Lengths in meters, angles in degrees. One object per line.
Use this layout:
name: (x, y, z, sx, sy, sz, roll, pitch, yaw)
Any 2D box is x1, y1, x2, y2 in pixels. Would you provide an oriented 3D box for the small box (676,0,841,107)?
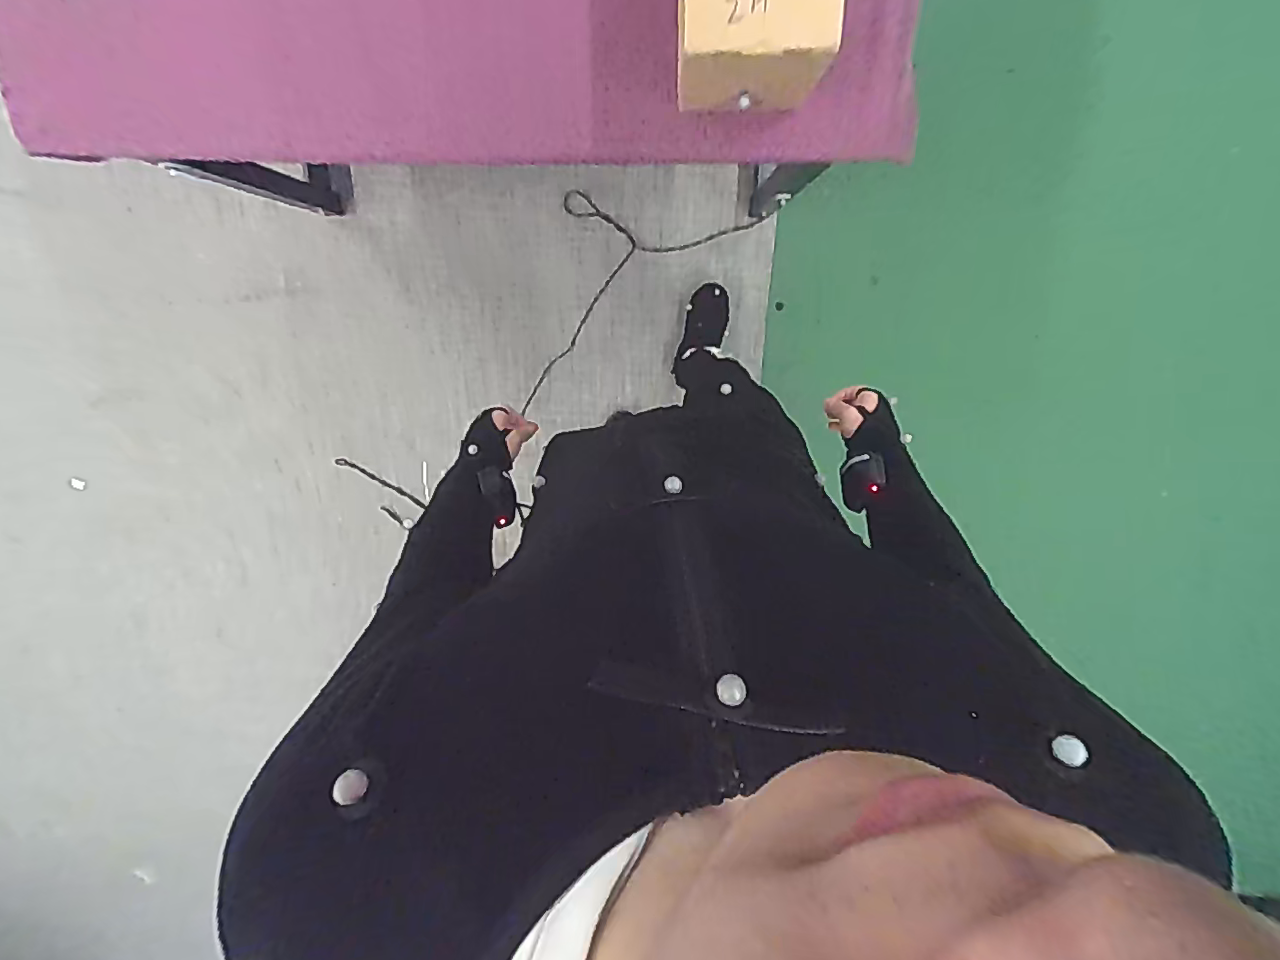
small box: (0.127, -0.558, 0.618, 0.168, 0.176, 0.179, 0, 108, 3)
